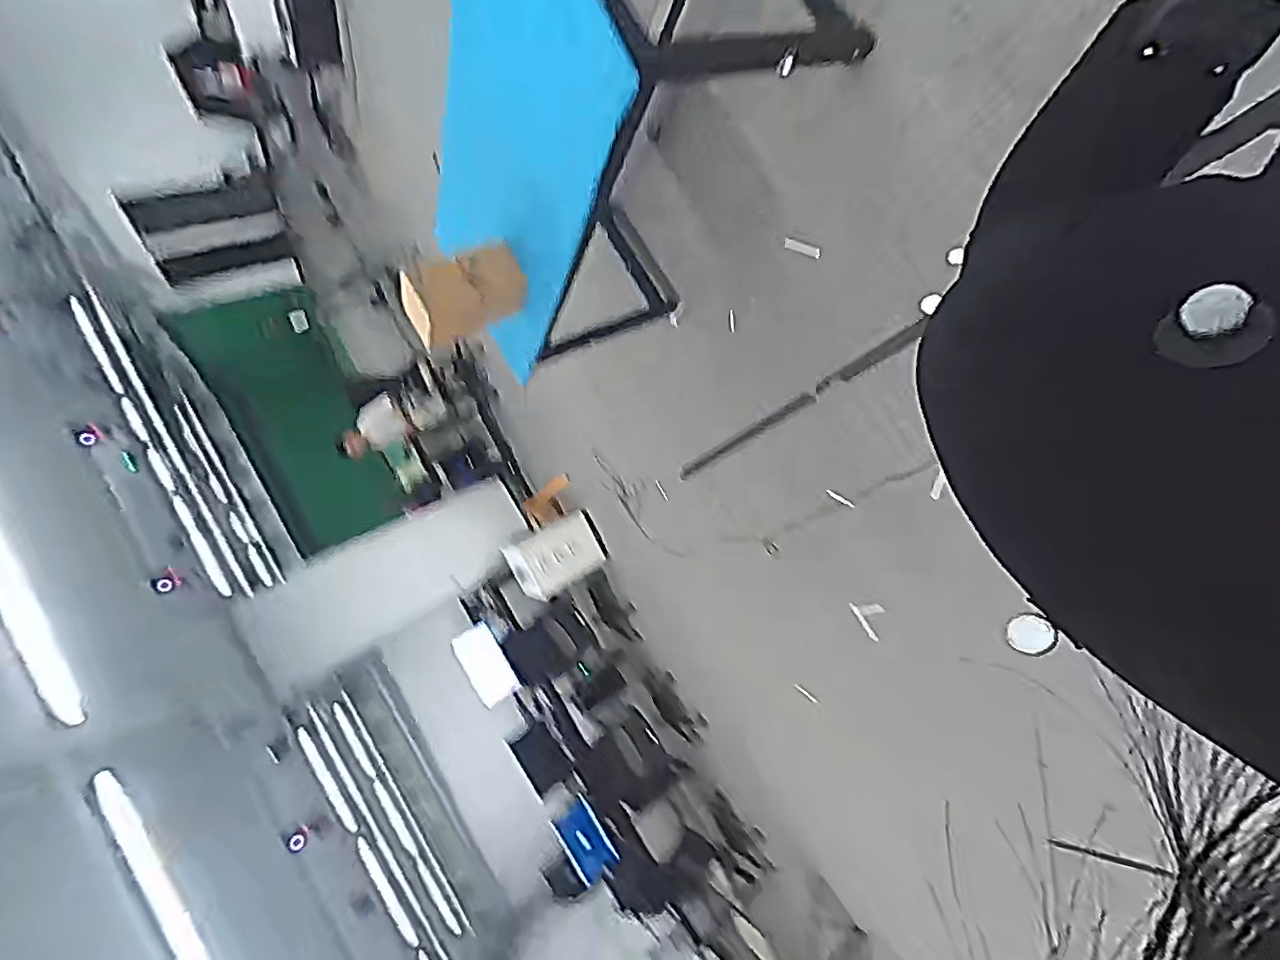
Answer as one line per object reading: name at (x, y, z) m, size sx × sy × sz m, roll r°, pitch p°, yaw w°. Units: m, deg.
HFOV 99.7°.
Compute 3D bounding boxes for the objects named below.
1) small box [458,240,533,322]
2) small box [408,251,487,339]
small box at (-0.464, -0.633, 1.713) m, size 0.179 × 0.176 × 0.168 m, roll 59°, pitch 154°, yaw 1°
small box at (-0.587, -0.553, 1.633) m, size 0.168 × 0.176 × 0.179 m, roll 60°, pitch 152°, yaw 3°
